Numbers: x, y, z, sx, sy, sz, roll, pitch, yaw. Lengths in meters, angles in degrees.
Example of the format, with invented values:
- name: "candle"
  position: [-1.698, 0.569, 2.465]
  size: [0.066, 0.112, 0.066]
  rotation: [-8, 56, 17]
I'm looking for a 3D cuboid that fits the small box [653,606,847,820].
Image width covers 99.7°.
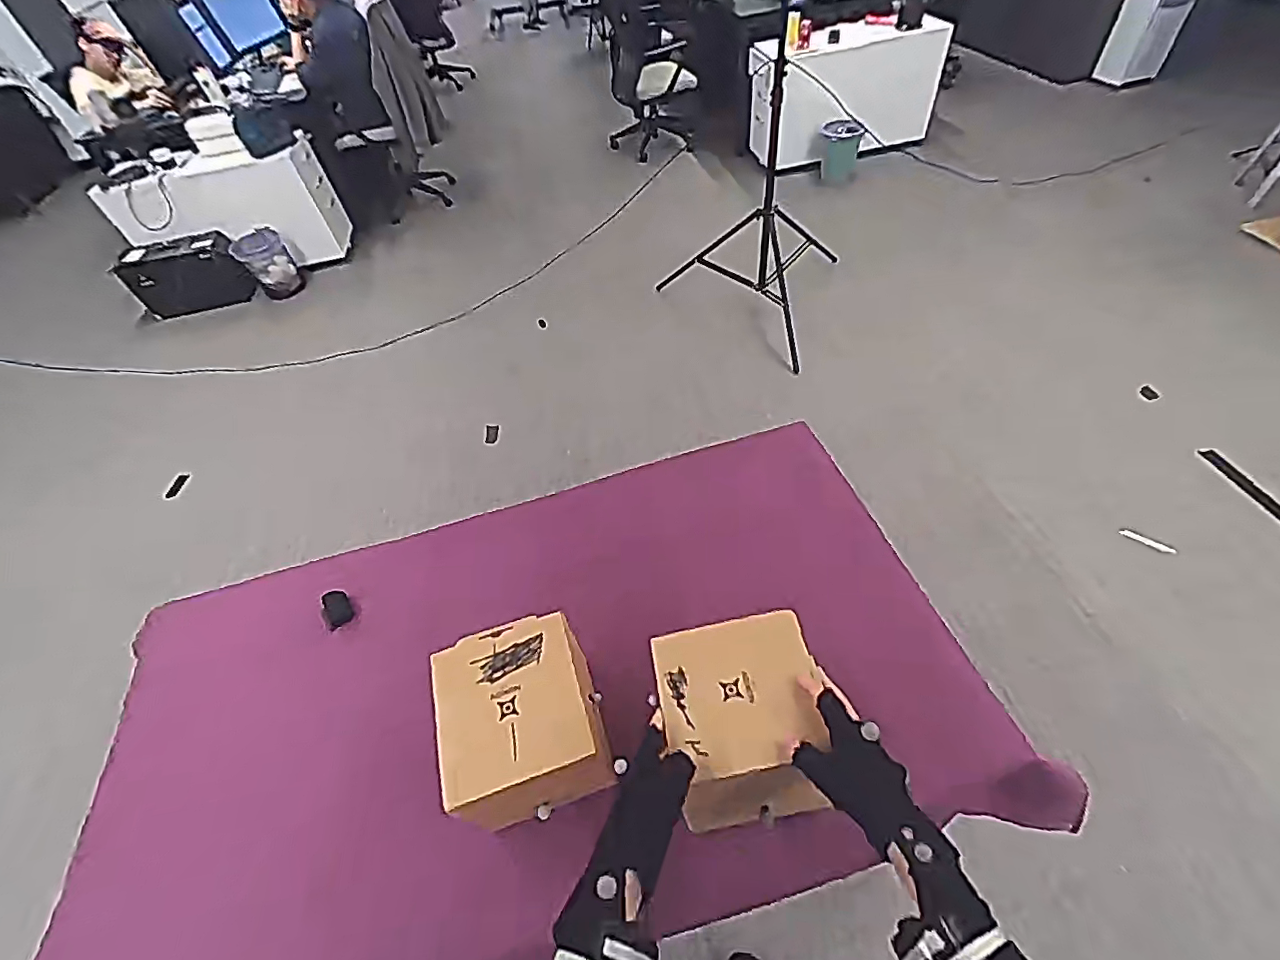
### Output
- name: "small box"
  position: [0.119, 0.275, 0.636]
  size: [0.179, 0.176, 0.168]
  rotation: [-11, 43, 1]

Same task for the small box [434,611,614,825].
- name: "small box"
  position: [-0.140, 0.297, 0.672]
  size: [0.168, 0.176, 0.179]
  rotation: [-18, 52, -7]
